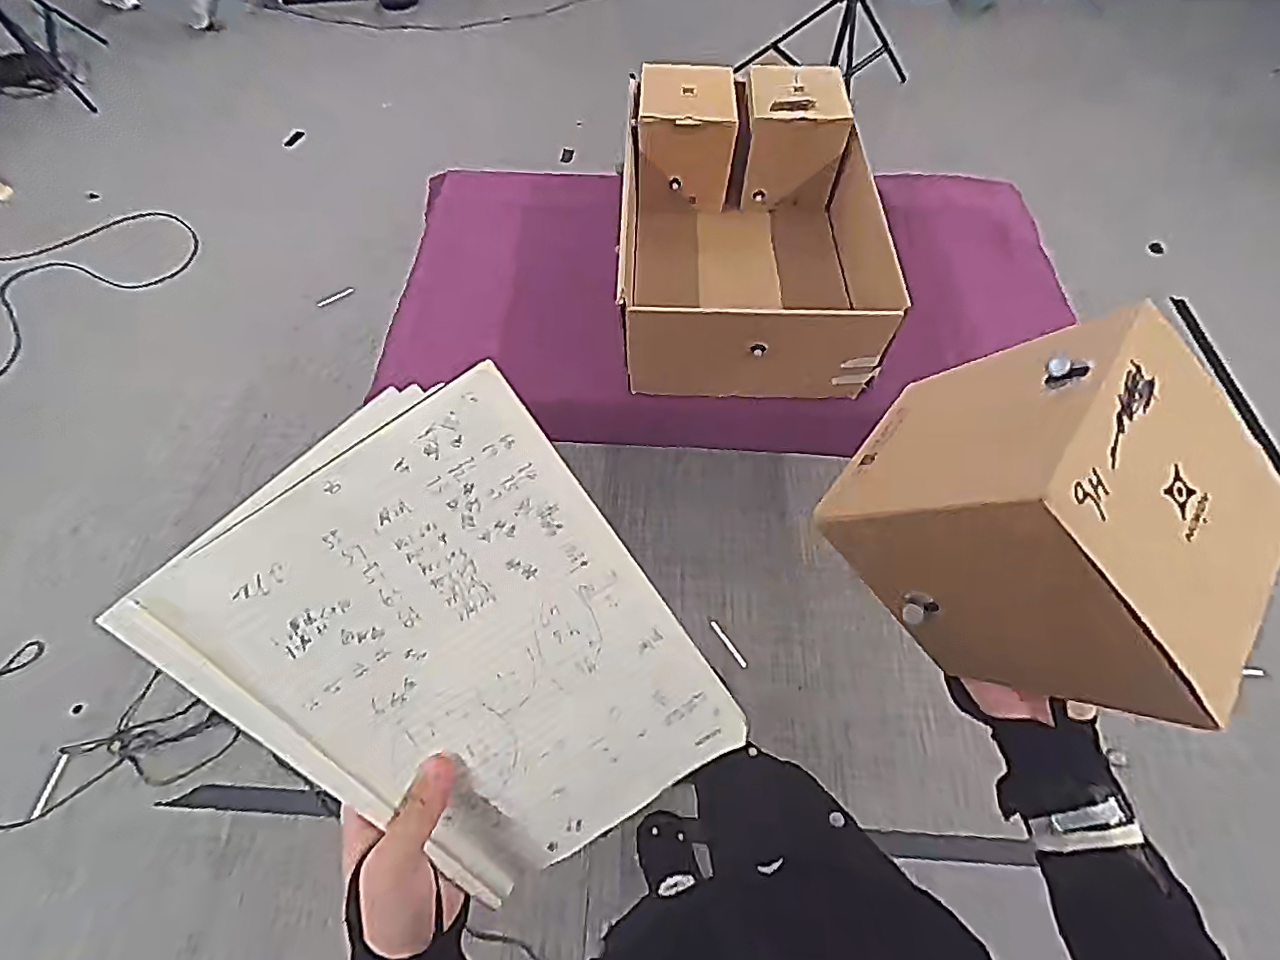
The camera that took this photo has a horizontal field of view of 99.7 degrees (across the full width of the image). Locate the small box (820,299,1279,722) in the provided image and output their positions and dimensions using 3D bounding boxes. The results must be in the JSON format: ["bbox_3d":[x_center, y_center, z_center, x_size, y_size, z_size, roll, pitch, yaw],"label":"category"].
[{"bbox_3d":[0.265,0.020,0.368,0.179,0.176,0.168,47,69,-10],"label":"small box"}]
